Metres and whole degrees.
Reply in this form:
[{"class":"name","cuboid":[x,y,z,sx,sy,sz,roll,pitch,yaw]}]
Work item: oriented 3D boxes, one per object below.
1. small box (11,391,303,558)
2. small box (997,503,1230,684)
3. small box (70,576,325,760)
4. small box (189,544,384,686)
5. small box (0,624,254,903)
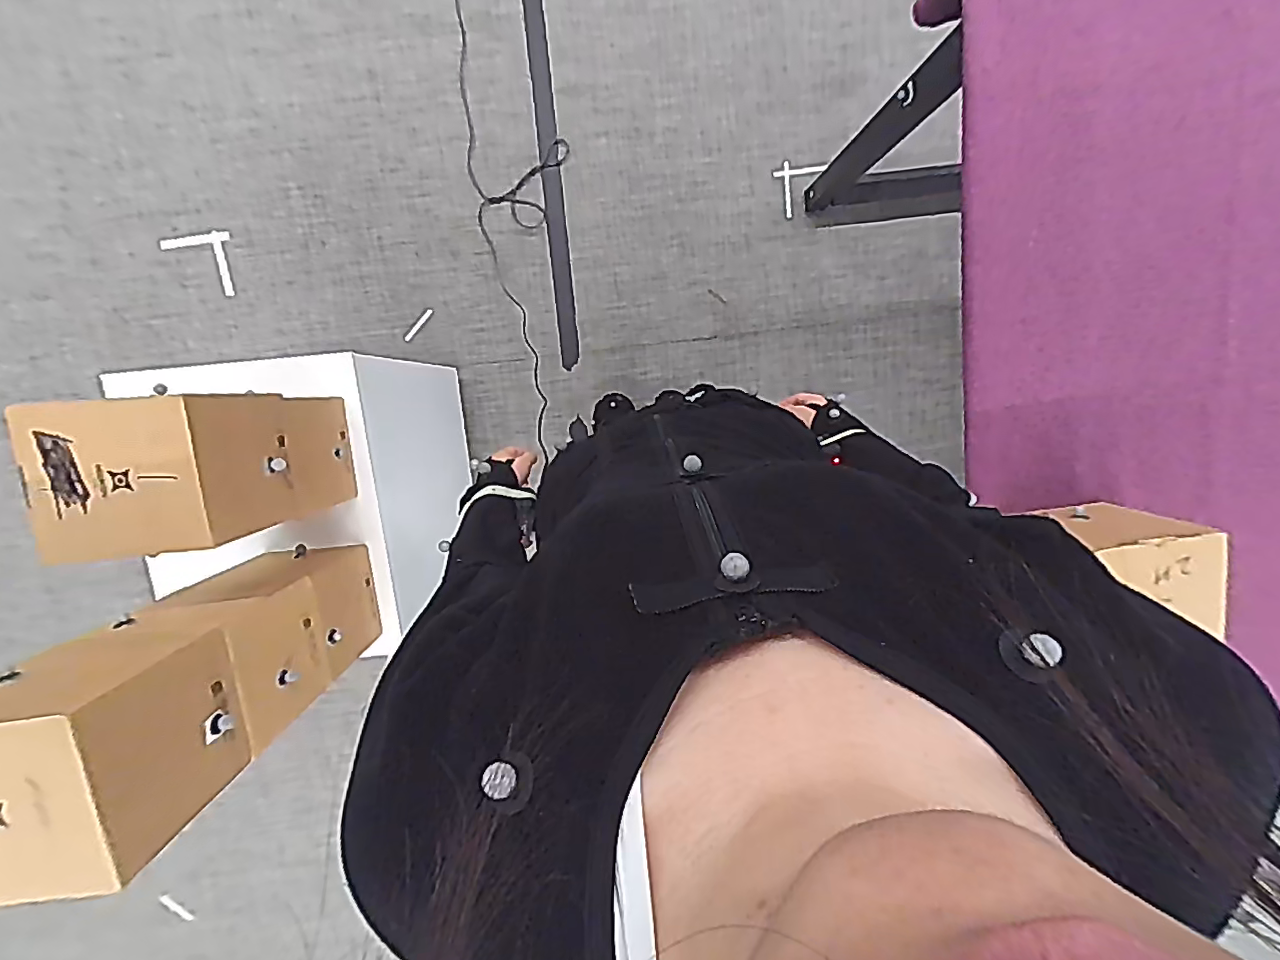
[{"class":"small box","cuboid":[-0.538,-0.016,0.631,0.179,0.176,0.168,-4,100,-2]},{"class":"small box","cuboid":[0.608,0.139,0.718,0.168,0.176,0.179,-8,99,-1]},{"class":"small box","cuboid":[-0.523,0.229,0.673,0.179,0.176,0.168,-6,99,0]},{"class":"small box","cuboid":[-0.529,0.203,0.833,0.179,0.176,0.168,-5,100,0]},{"class":"small box","cuboid":[-0.521,0.253,0.513,0.179,0.176,0.168,-7,100,-1]}]
